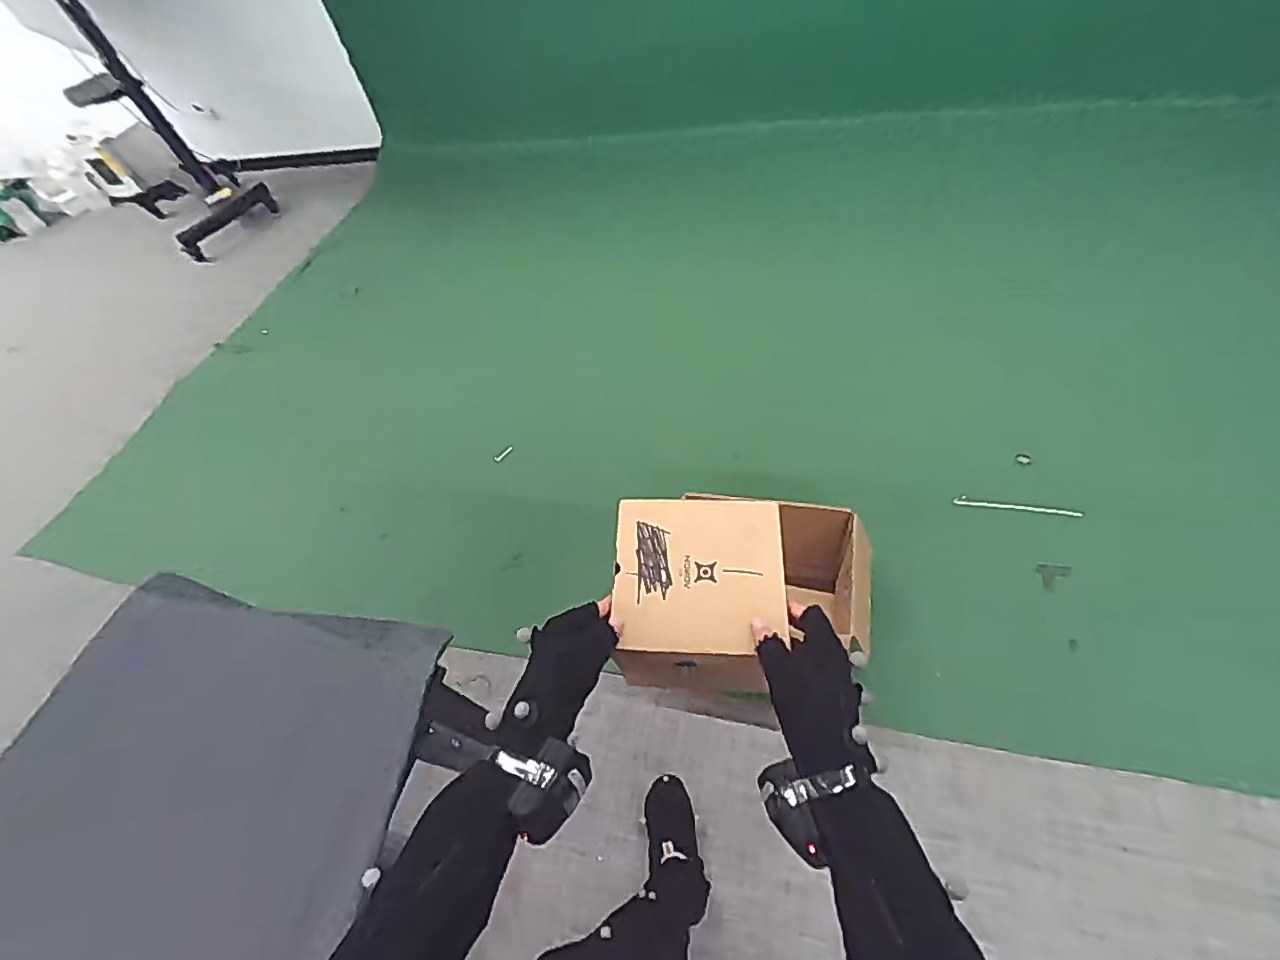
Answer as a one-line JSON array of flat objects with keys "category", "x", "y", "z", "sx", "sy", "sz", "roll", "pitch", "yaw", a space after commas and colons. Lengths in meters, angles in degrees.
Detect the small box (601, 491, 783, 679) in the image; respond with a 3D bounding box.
[{"category": "small box", "x": 0.062, "y": 0.125, "z": 0.619, "sx": 0.179, "sy": 0.176, "sz": 0.168, "roll": 0, "pitch": 59, "yaw": 6}]
